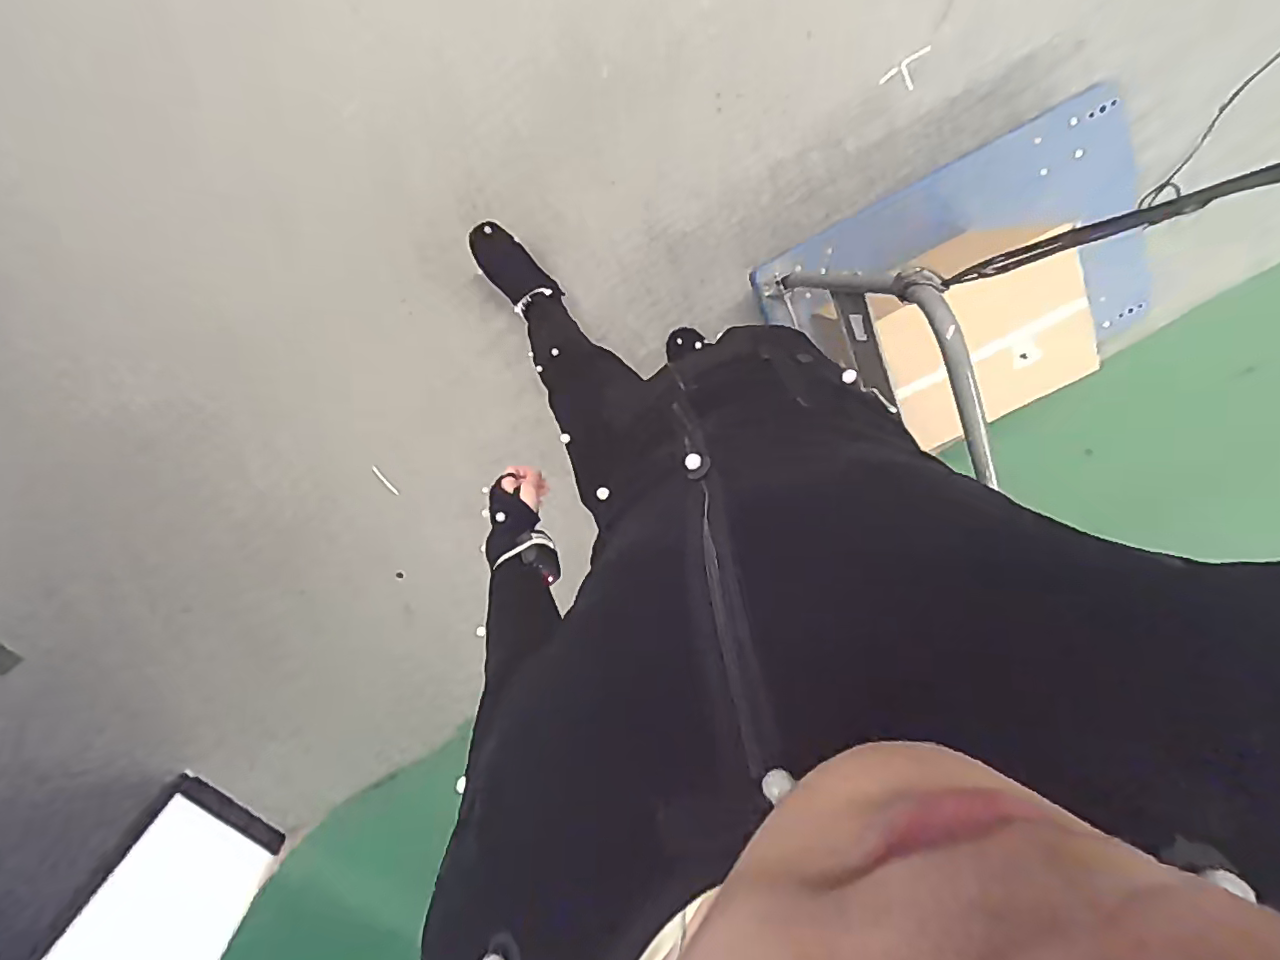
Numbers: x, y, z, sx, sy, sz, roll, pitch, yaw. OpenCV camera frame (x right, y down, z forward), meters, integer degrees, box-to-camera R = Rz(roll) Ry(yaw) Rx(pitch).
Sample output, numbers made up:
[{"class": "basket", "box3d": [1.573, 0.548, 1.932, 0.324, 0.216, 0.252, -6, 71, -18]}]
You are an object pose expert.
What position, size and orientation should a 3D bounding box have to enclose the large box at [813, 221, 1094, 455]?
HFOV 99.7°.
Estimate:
[{"class": "large box", "box3d": [0.667, -0.316, 1.204, 0.408, 0.320, 0.320, -27, 112, 7]}]
